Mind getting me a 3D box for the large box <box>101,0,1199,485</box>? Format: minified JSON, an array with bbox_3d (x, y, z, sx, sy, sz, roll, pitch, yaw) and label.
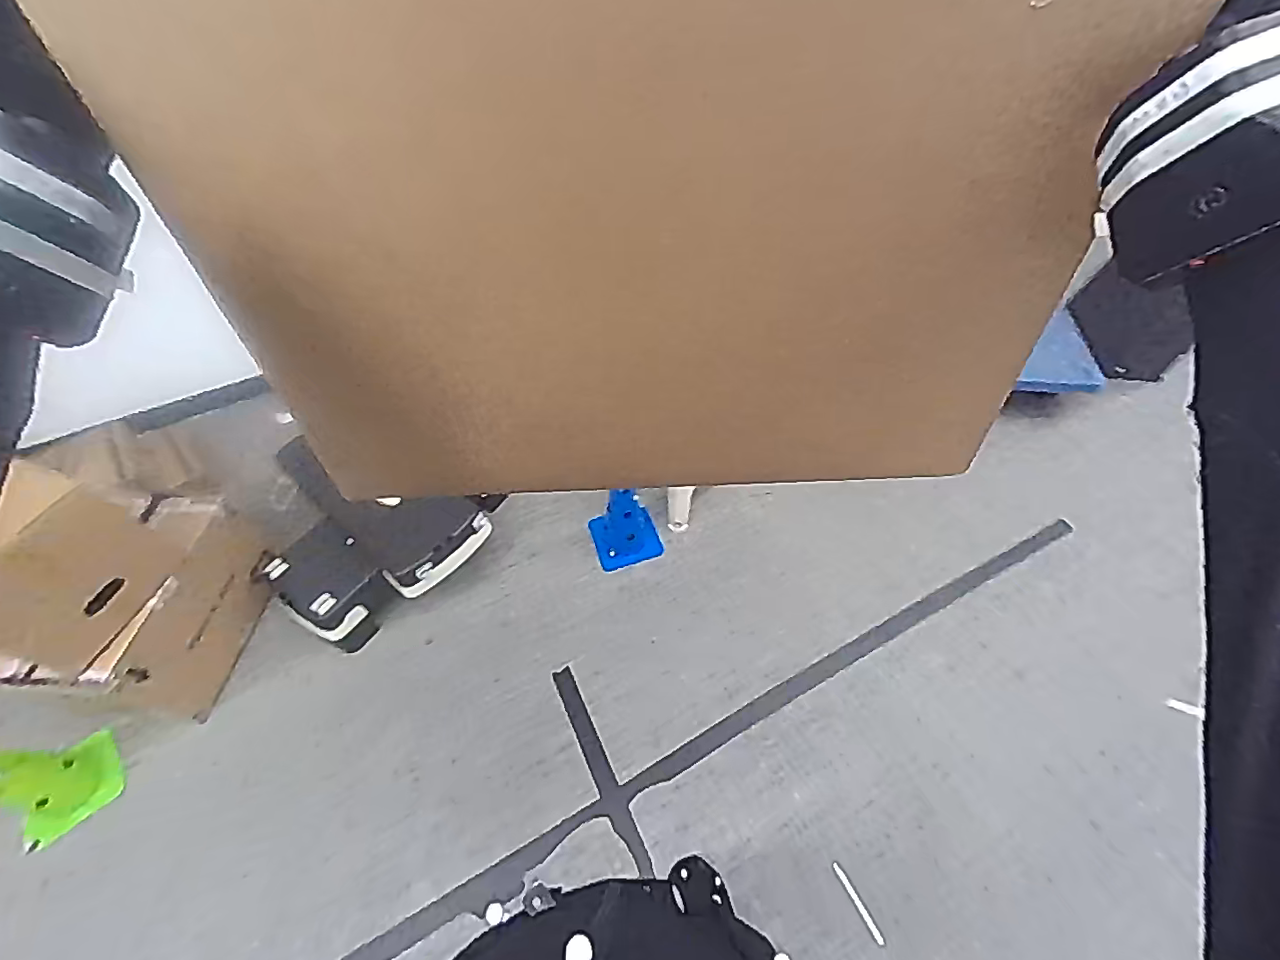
[{"bbox_3d":[0.005,-0.212,0.358,0.408,0.320,0.320,-1,46,1],"label":"large box"}]
